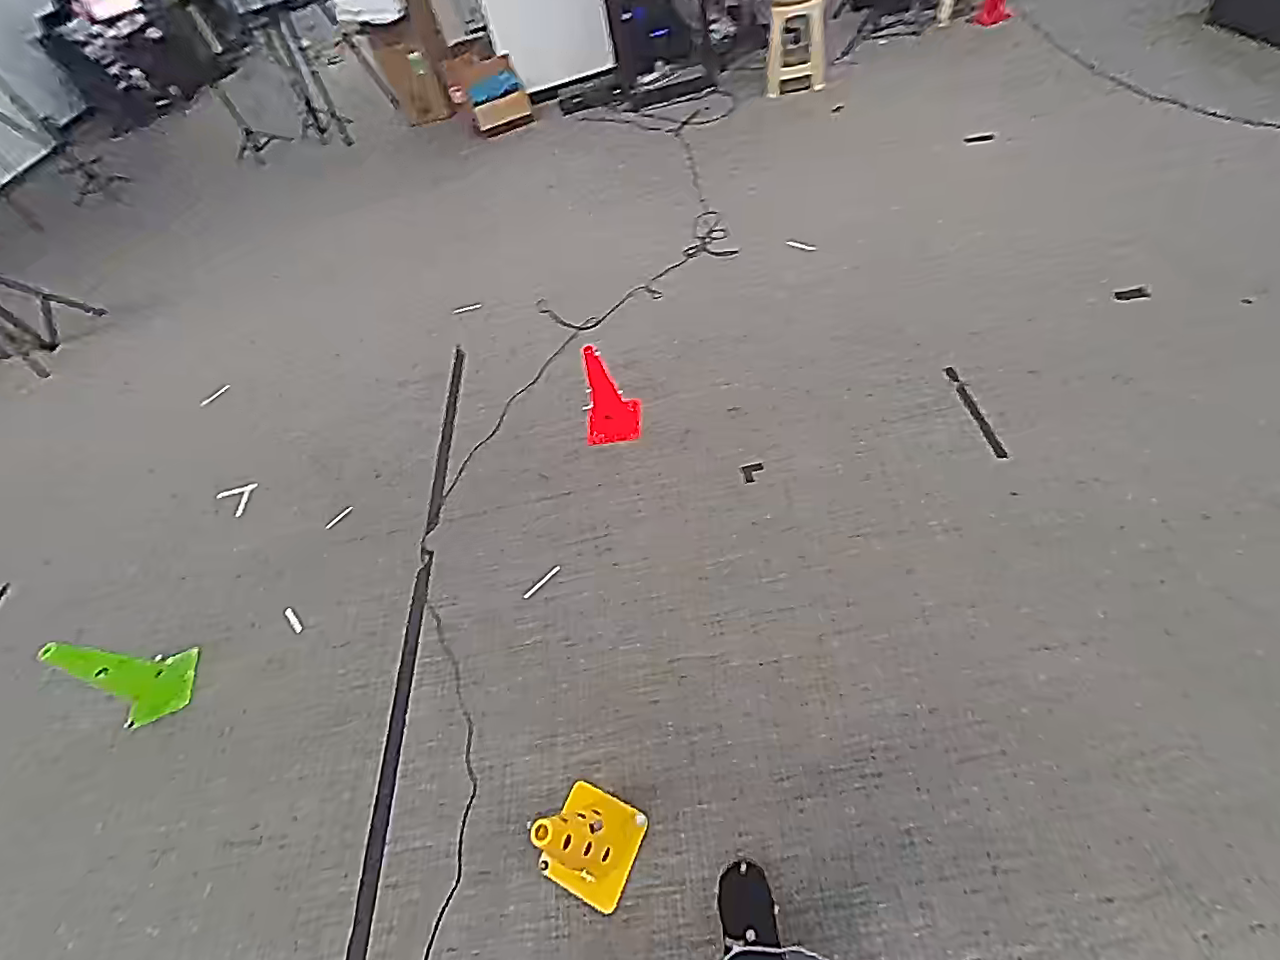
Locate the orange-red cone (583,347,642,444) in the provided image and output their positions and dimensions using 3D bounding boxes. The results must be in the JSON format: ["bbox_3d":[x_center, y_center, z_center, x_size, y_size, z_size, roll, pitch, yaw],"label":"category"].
[{"bbox_3d":[-0.127,-0.314,1.874,0.198,0.360,0.199,-6,54,11],"label":"orange-red cone"}]

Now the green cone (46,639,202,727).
[{"bbox_3d":[-1.546,0.559,1.599,0.200,0.368,0.202,-24,51,-4],"label":"green cone"}]
